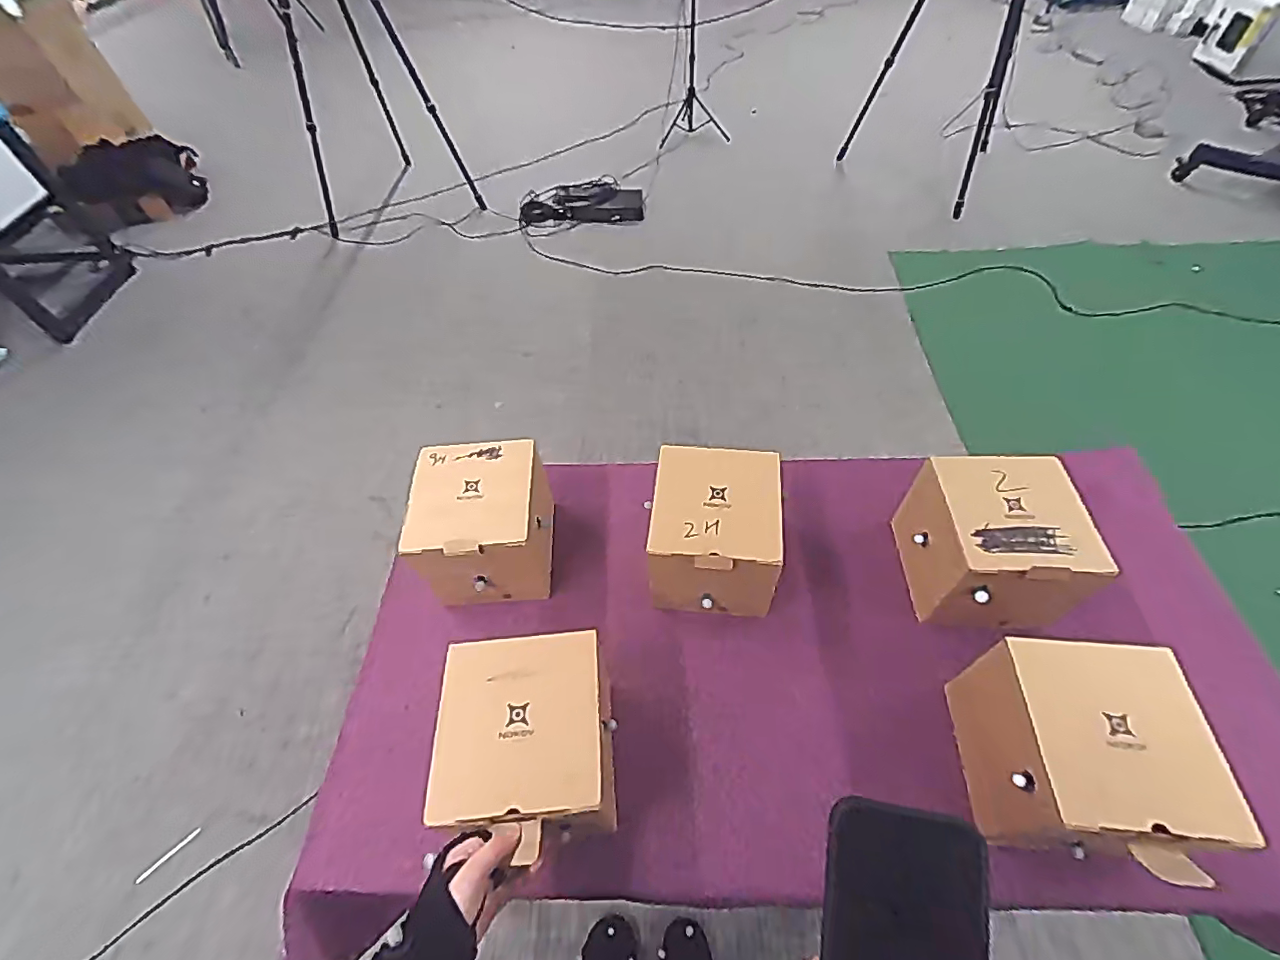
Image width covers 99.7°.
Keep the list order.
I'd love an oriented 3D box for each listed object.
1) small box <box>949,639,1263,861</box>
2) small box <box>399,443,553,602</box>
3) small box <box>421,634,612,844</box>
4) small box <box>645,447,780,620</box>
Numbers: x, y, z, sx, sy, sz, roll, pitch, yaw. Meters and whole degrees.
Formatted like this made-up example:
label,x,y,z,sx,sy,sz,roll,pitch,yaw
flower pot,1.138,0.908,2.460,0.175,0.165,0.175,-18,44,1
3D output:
label,x,y,z,sx,sy,sz,roll,pitch,yaw
small box,0.462,0.290,0.580,0.168,0.176,0.179,3,54,6
small box,-0.224,0.069,0.791,0.168,0.176,0.179,-4,54,0
small box,-0.122,0.295,0.607,0.168,0.176,0.179,-5,50,-1
small box,0.101,0.076,0.764,0.168,0.176,0.179,4,54,7
